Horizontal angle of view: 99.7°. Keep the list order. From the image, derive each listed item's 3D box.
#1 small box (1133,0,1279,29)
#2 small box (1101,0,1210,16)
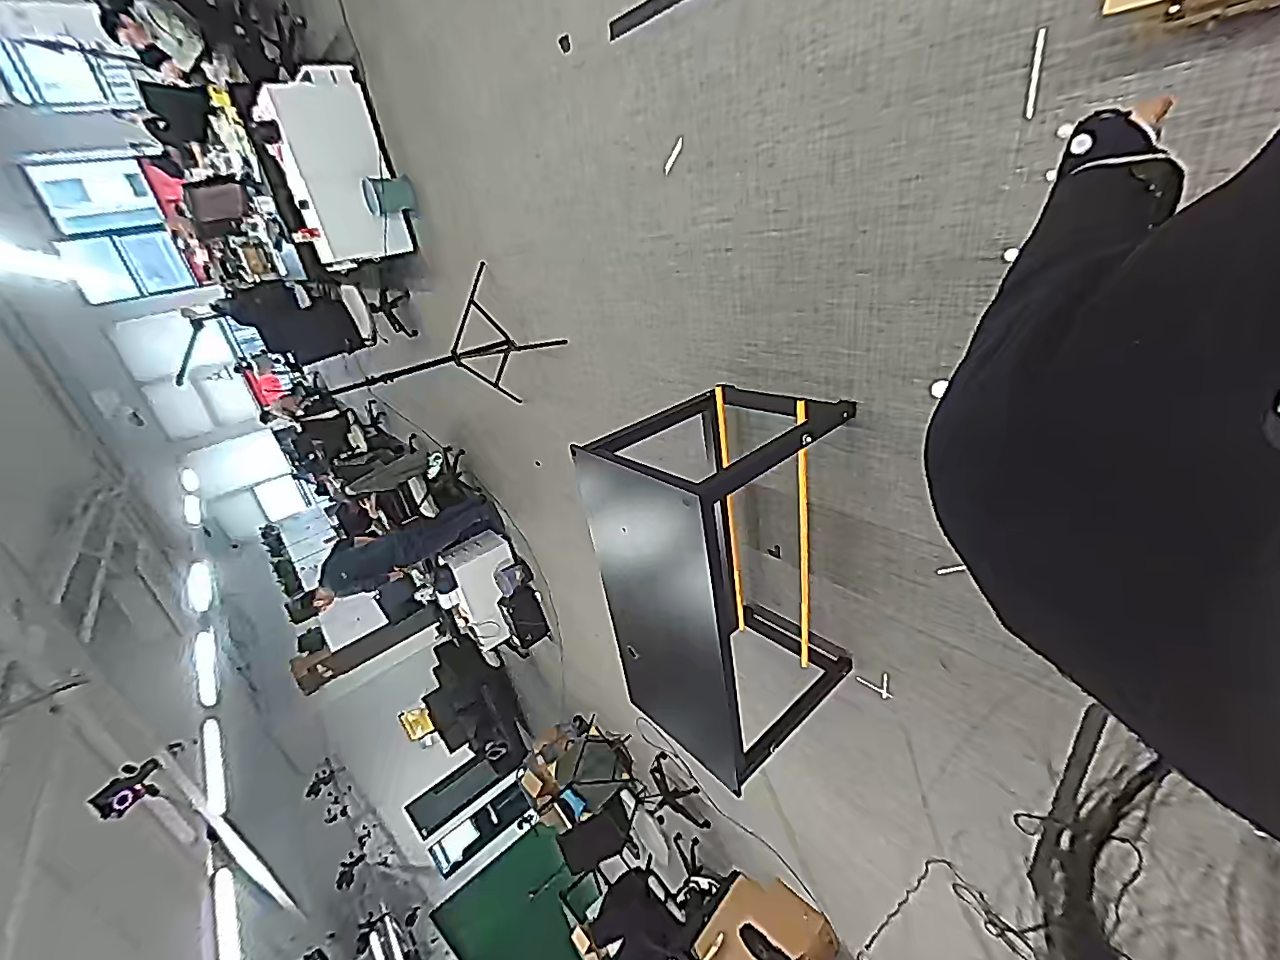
[{"bbox_3d":[0.895,-0.809,0.811,0.168,0.176,0.179,26,134,46],"label":"small box"},{"bbox_3d":[0.770,-0.749,0.721,0.179,0.176,0.168,24,132,45],"label":"small box"}]
